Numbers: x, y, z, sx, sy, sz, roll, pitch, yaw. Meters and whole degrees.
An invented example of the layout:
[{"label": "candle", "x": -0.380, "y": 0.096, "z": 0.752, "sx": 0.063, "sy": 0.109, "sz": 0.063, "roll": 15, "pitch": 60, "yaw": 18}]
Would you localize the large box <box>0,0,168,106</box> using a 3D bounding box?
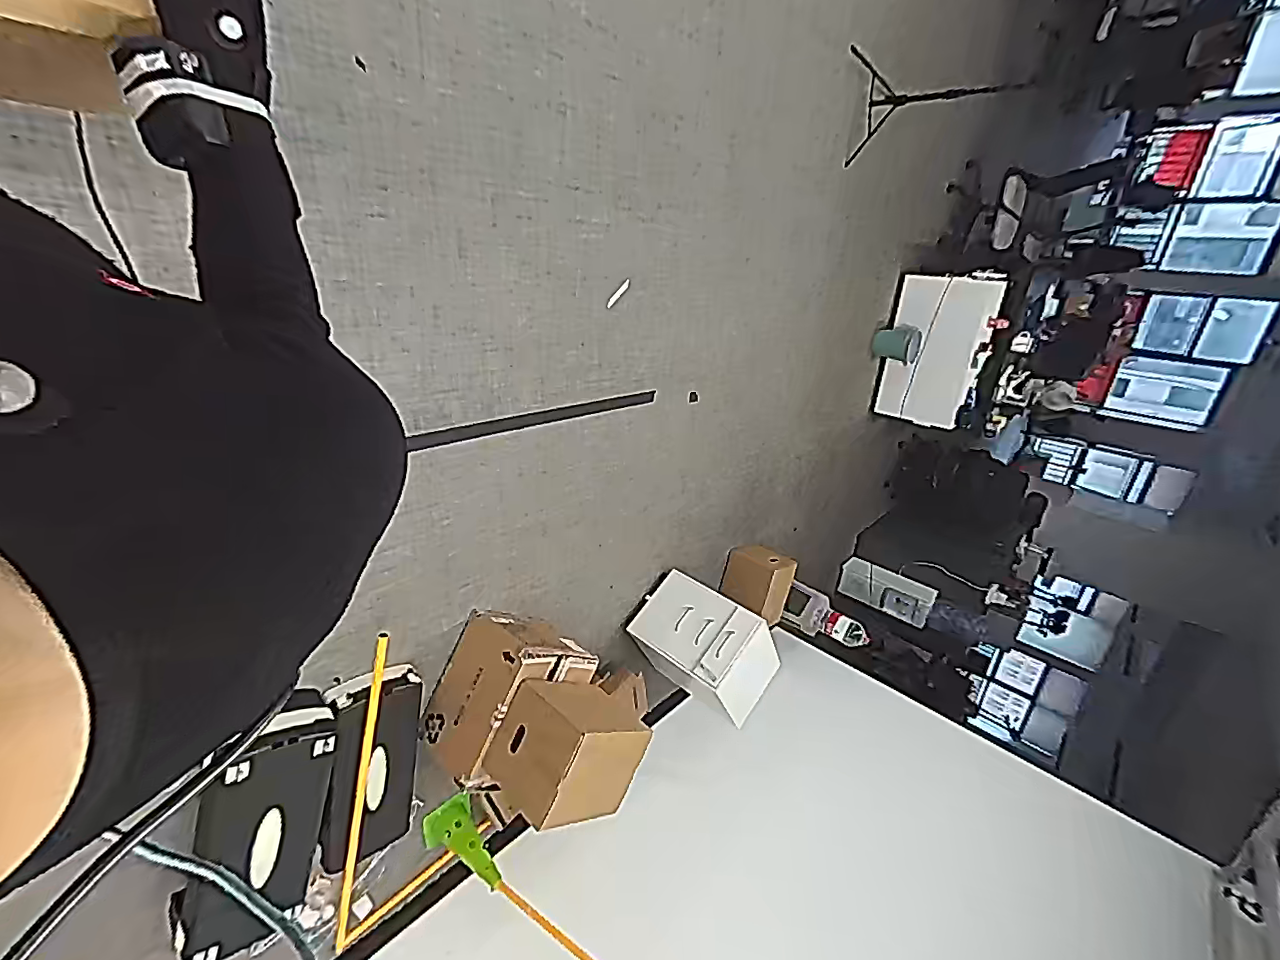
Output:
[{"label": "large box", "x": -0.583, "y": -0.444, "z": 0.288, "sx": 0.408, "sy": 0.320, "sz": 0.320, "roll": -22, "pitch": 122, "yaw": -46}]
